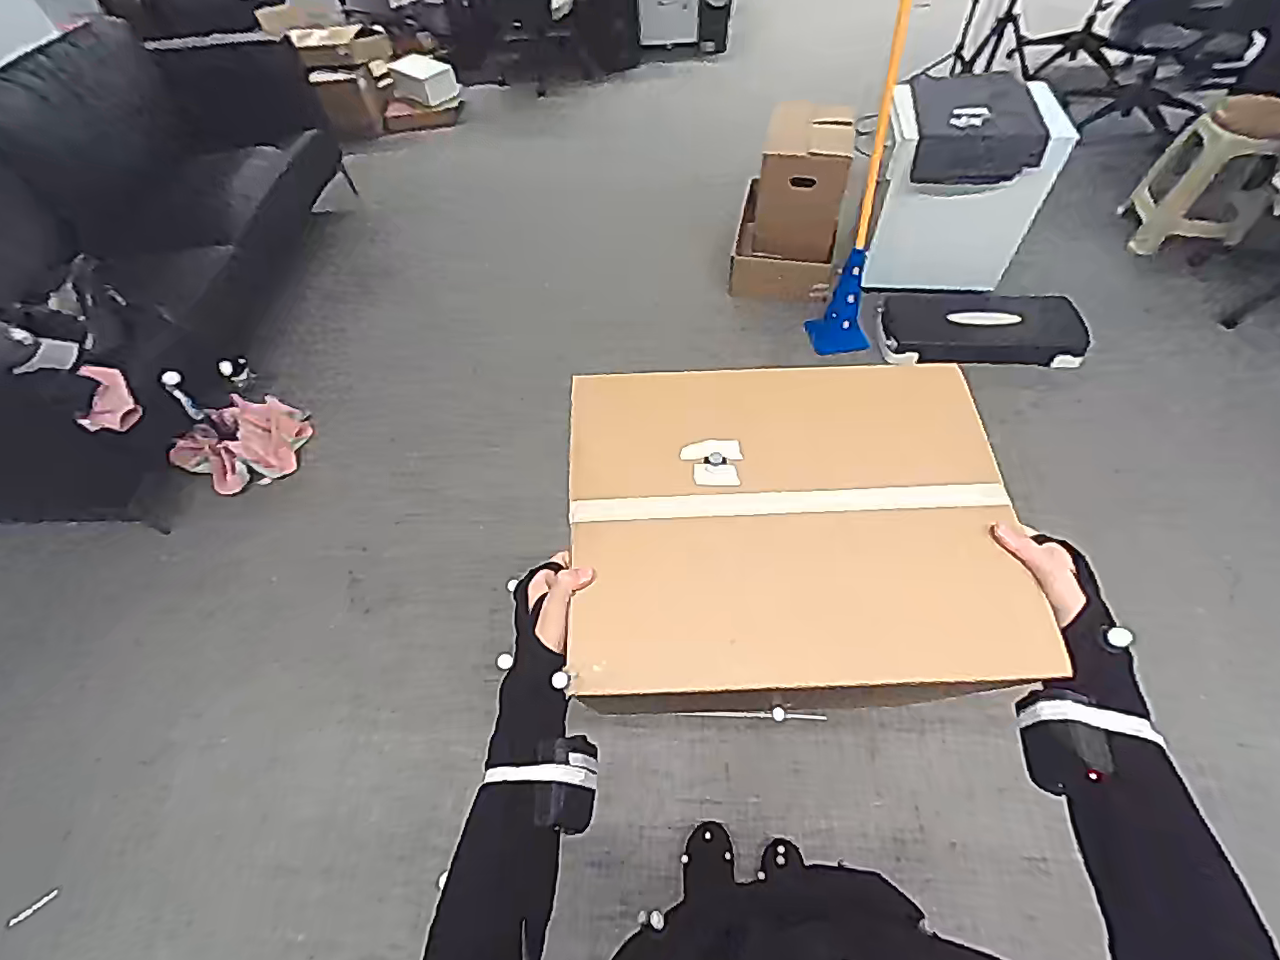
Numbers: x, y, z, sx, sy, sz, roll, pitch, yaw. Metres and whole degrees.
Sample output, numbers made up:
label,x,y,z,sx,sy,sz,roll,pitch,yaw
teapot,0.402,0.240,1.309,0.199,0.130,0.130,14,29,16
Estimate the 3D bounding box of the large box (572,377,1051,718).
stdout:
label,x,y,z,sx,sy,sz,roll,pitch,yaw
large box,0.142,0.103,0.643,0.408,0.320,0.320,-3,63,1
